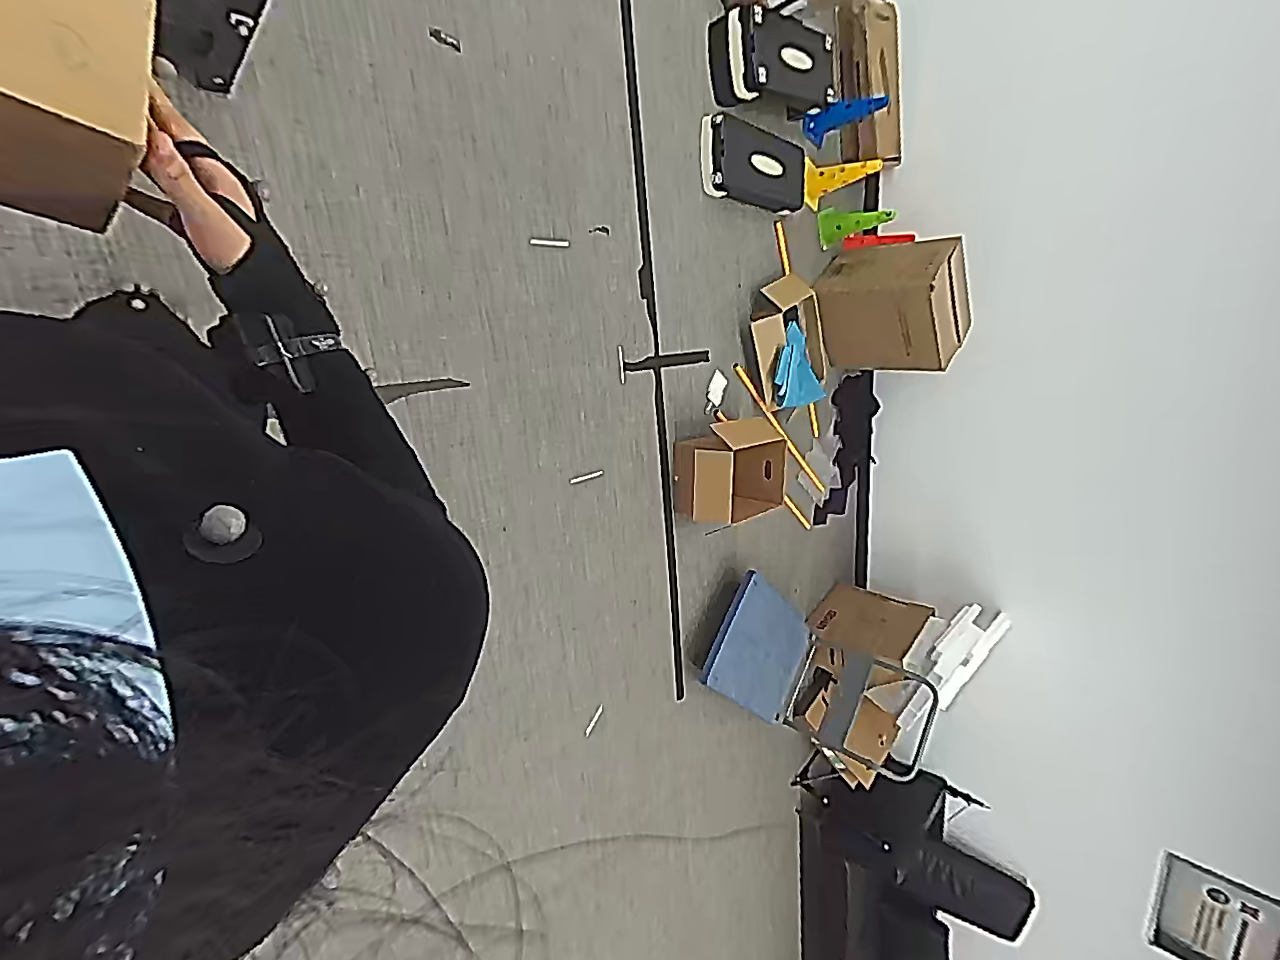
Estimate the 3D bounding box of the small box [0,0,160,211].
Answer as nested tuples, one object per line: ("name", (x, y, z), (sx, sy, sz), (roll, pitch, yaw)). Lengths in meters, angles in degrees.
("small box", (-0.387, -0.283, 0.297), (0.168, 0.176, 0.179), (6, 85, -51))
